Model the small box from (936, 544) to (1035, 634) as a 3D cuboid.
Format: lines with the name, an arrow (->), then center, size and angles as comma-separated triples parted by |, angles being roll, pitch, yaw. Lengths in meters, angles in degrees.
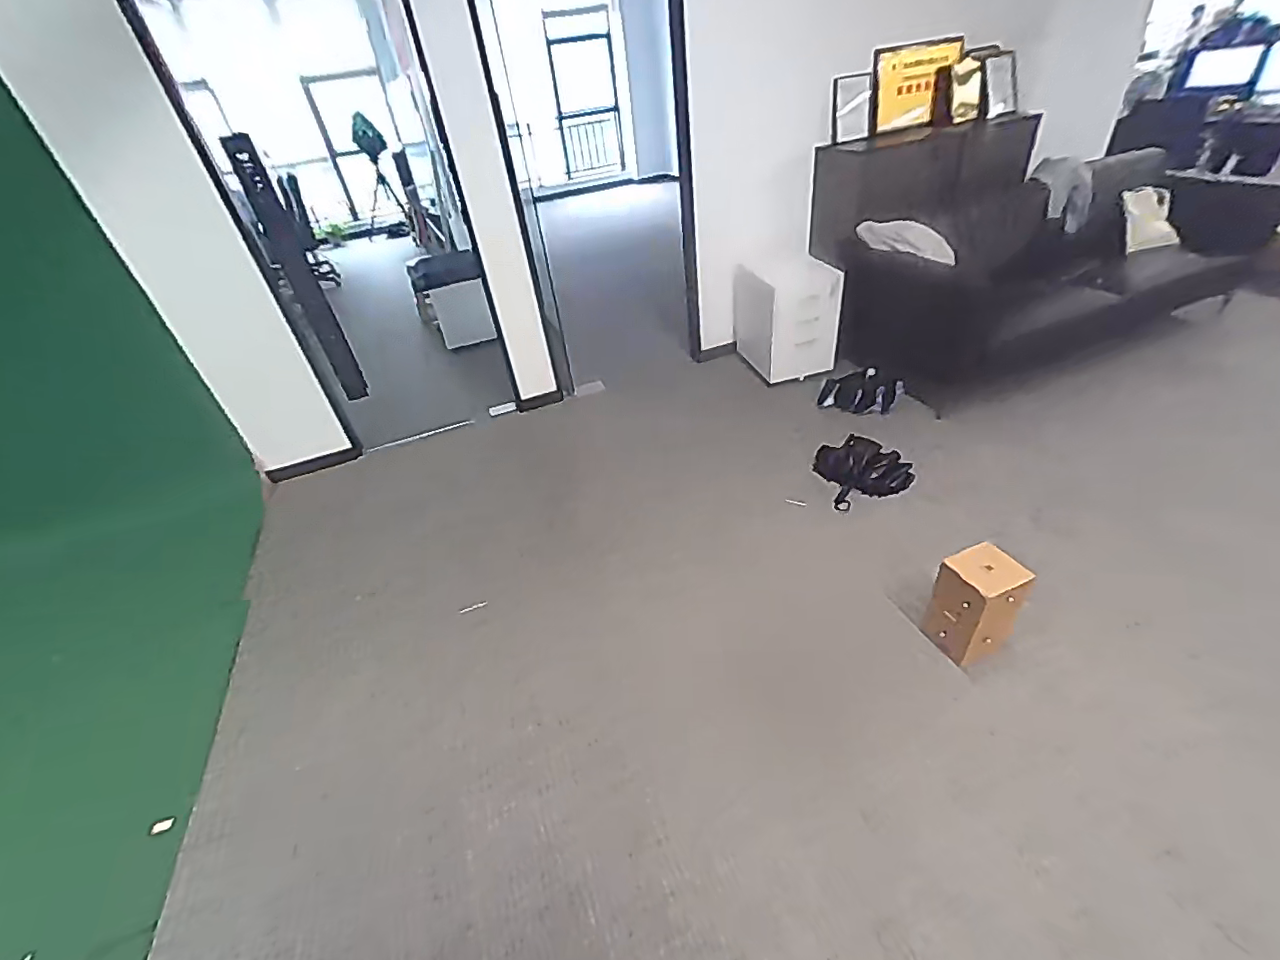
small box -> 1.010, 0.325, 1.601 | 0.179, 0.176, 0.168 | -17, 39, -15

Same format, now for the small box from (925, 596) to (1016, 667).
small box -> 1.027, 0.454, 1.698 | 0.179, 0.176, 0.168 | -19, 38, -14
